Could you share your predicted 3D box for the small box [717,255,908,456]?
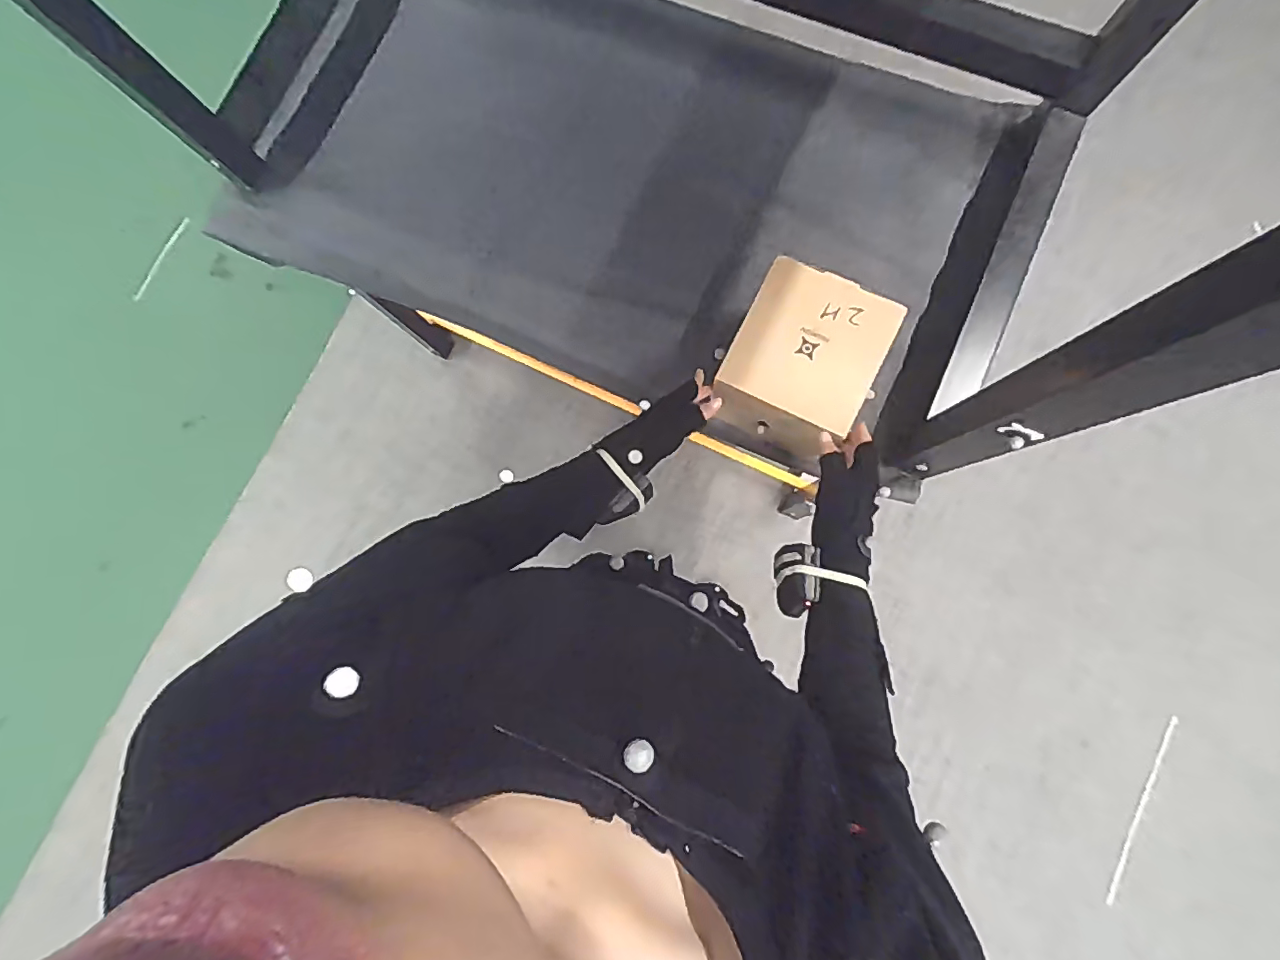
[{"bbox_3d":[0.209,-0.148,0.709,0.168,0.176,0.179,27,85,7],"label":"small box"}]
